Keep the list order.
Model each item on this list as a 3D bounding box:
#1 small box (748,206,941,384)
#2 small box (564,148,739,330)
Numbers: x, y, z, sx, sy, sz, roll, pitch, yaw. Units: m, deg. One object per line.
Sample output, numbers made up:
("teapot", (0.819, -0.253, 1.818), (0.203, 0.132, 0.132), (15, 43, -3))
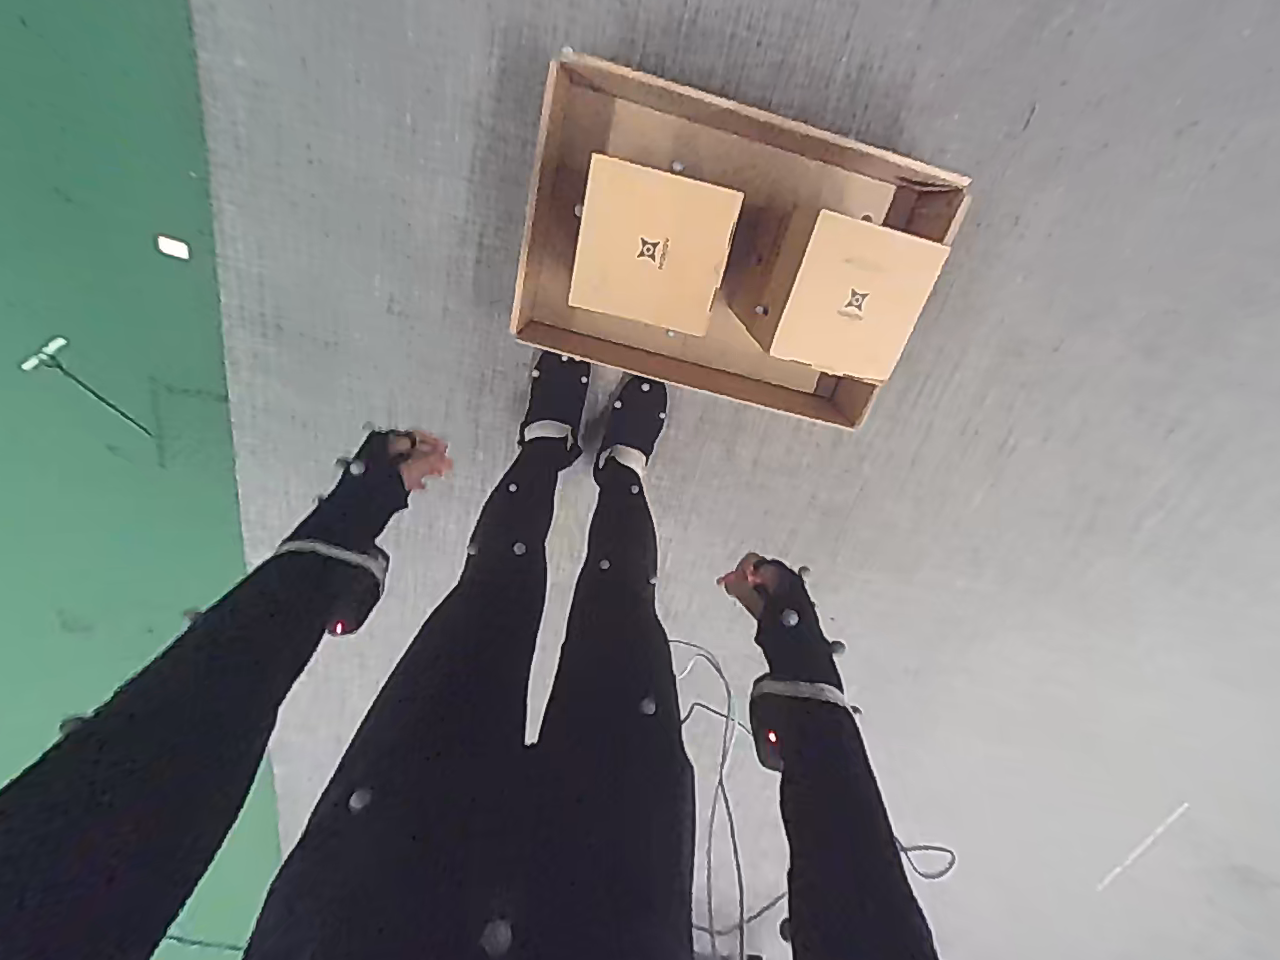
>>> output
("small box", (0.257, -0.256, 0.735), (0.168, 0.176, 0.179), (14, 116, -7))
("small box", (0.009, -0.311, 0.708), (0.179, 0.176, 0.168), (12, 116, -7))
